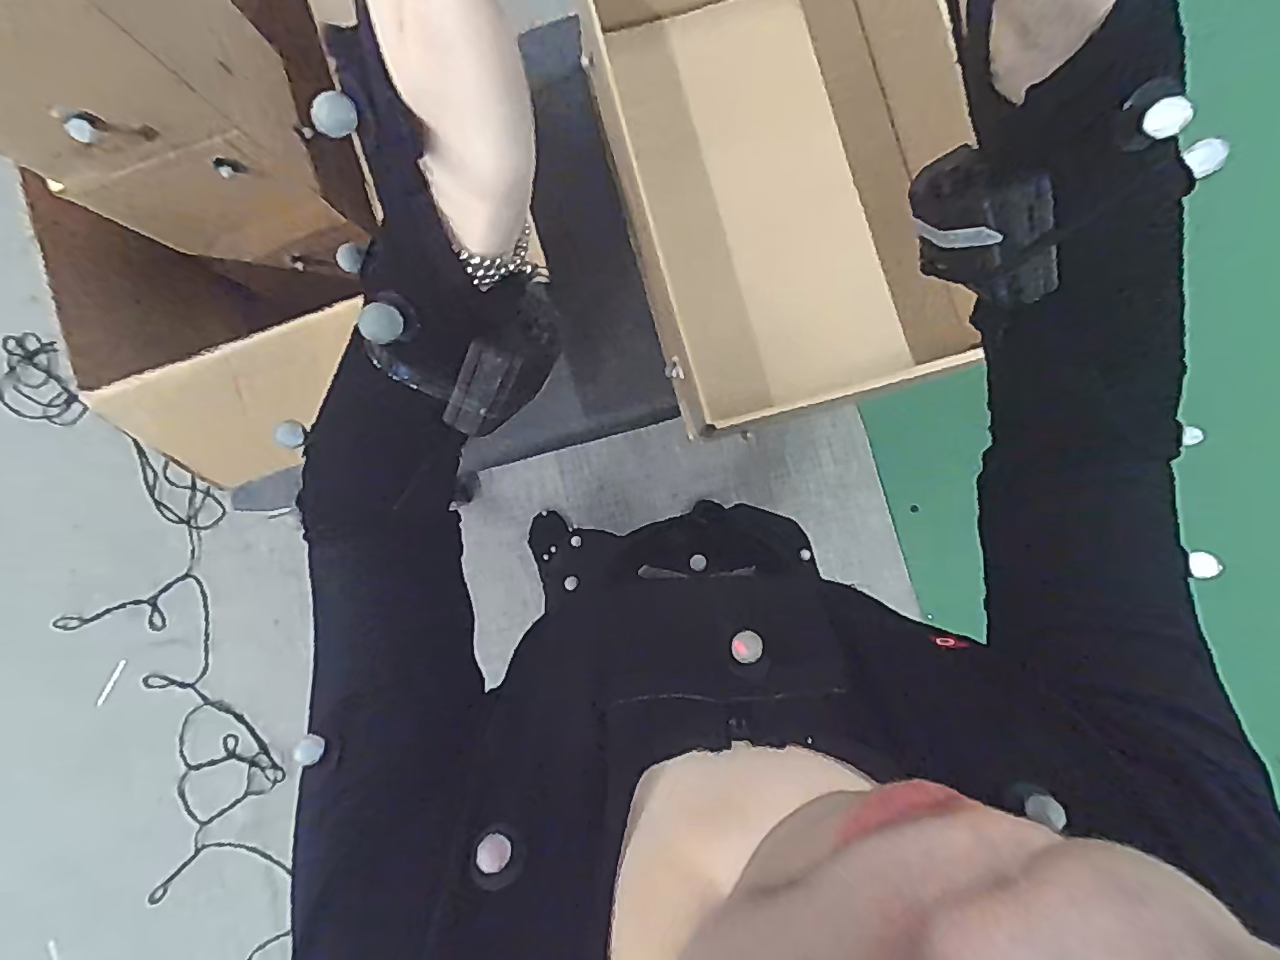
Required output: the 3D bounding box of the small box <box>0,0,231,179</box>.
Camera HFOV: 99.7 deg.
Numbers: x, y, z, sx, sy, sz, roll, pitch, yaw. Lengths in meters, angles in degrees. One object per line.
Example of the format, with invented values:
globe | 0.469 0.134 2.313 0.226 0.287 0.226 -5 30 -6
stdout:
small box | -0.443 -0.358 0.380 0.168 0.176 0.179 -16 90 2
